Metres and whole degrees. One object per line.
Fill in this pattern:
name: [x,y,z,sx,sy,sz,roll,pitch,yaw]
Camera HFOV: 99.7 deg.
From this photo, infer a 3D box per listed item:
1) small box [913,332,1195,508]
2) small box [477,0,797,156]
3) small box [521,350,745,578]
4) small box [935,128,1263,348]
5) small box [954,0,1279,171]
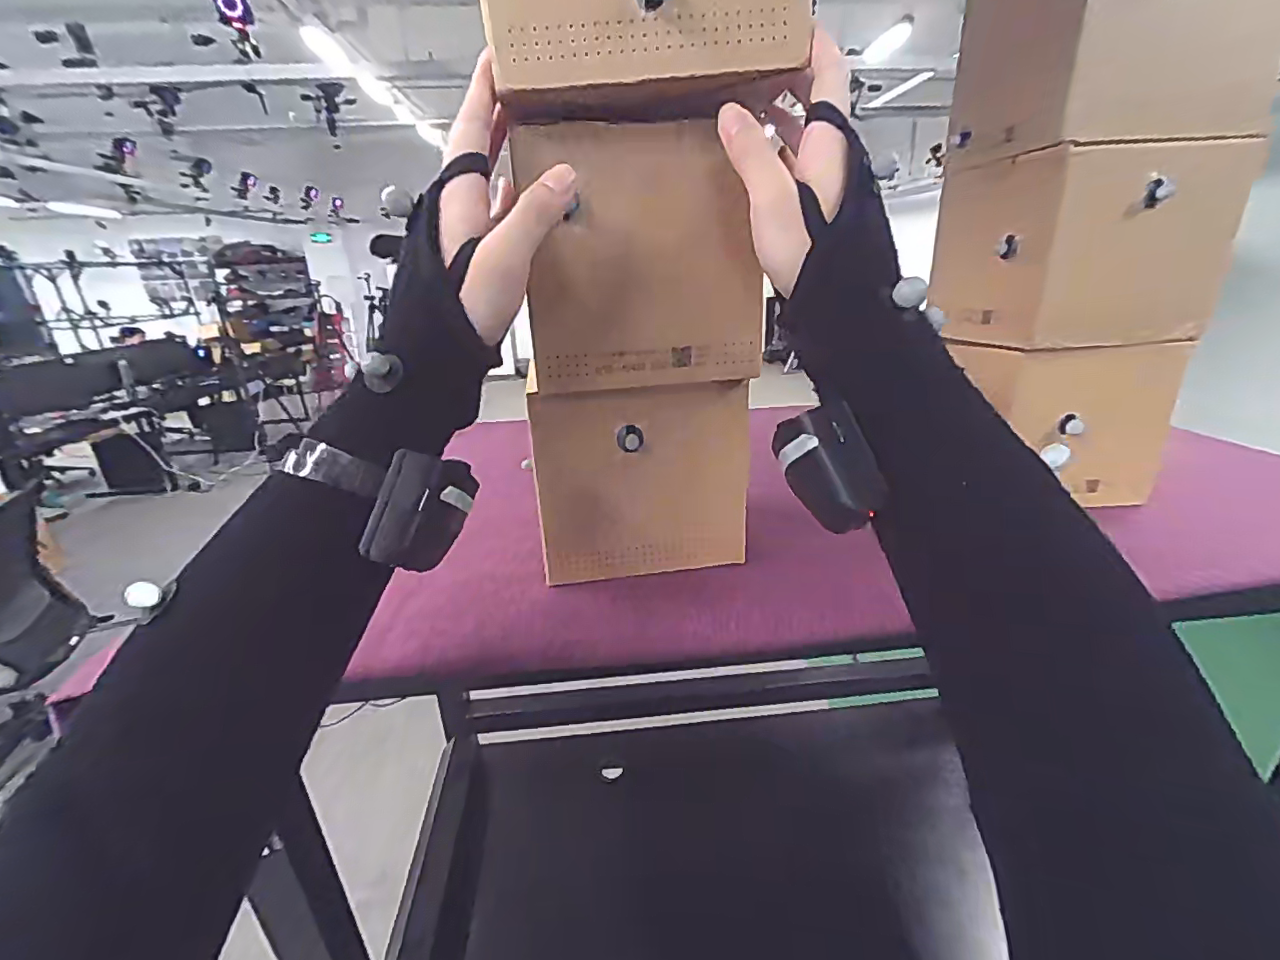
small box: [0.427,-0.073,0.595,0.168,0.176,0.179,-3,20,-1]
small box: [-0.007,-0.317,0.338,0.179,0.176,0.168,-7,20,-3]
small box: [-0.009,-0.022,0.506,0.179,0.176,0.168,-6,22,-8]
small box: [0.417,-0.223,0.531,0.179,0.176,0.168,-4,21,-4]
small box: [0.412,-0.381,0.484,0.179,0.176,0.168,-3,21,-2]
